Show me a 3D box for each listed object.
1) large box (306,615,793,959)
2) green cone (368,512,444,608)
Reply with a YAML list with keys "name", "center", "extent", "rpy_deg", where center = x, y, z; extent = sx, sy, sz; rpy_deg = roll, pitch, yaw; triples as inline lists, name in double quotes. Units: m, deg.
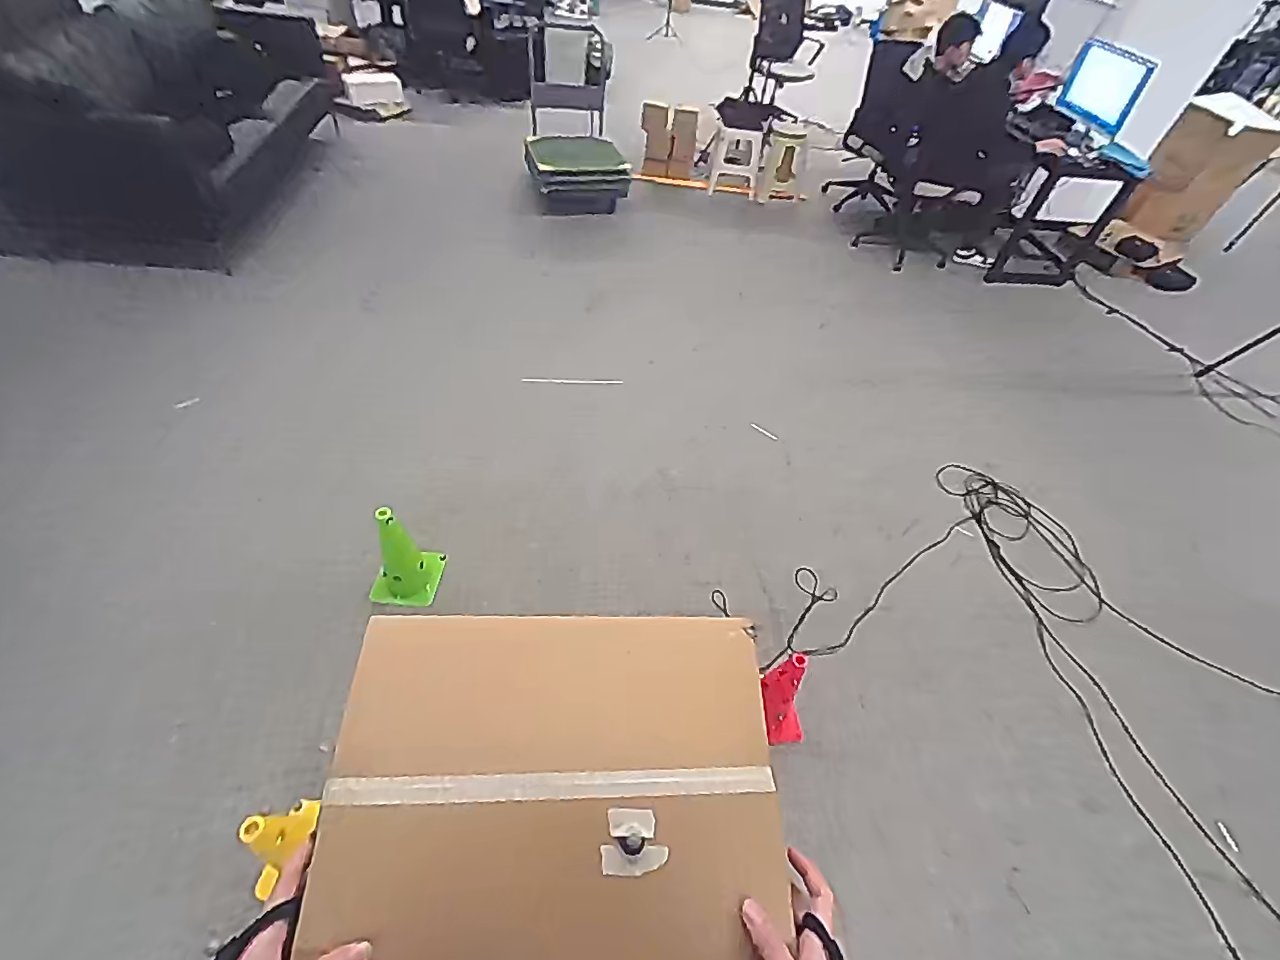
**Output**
- name: "large box"
  center: [-0.089, 0.357, 0.634]
  extent: [0.408, 0.320, 0.320]
  rpy_deg: [2, 59, -6]
- name: "green cone"
  center: [-0.749, 0.216, 1.648]
  extent: [0.200, 0.368, 0.202]
  rpy_deg: [5, 50, -3]
